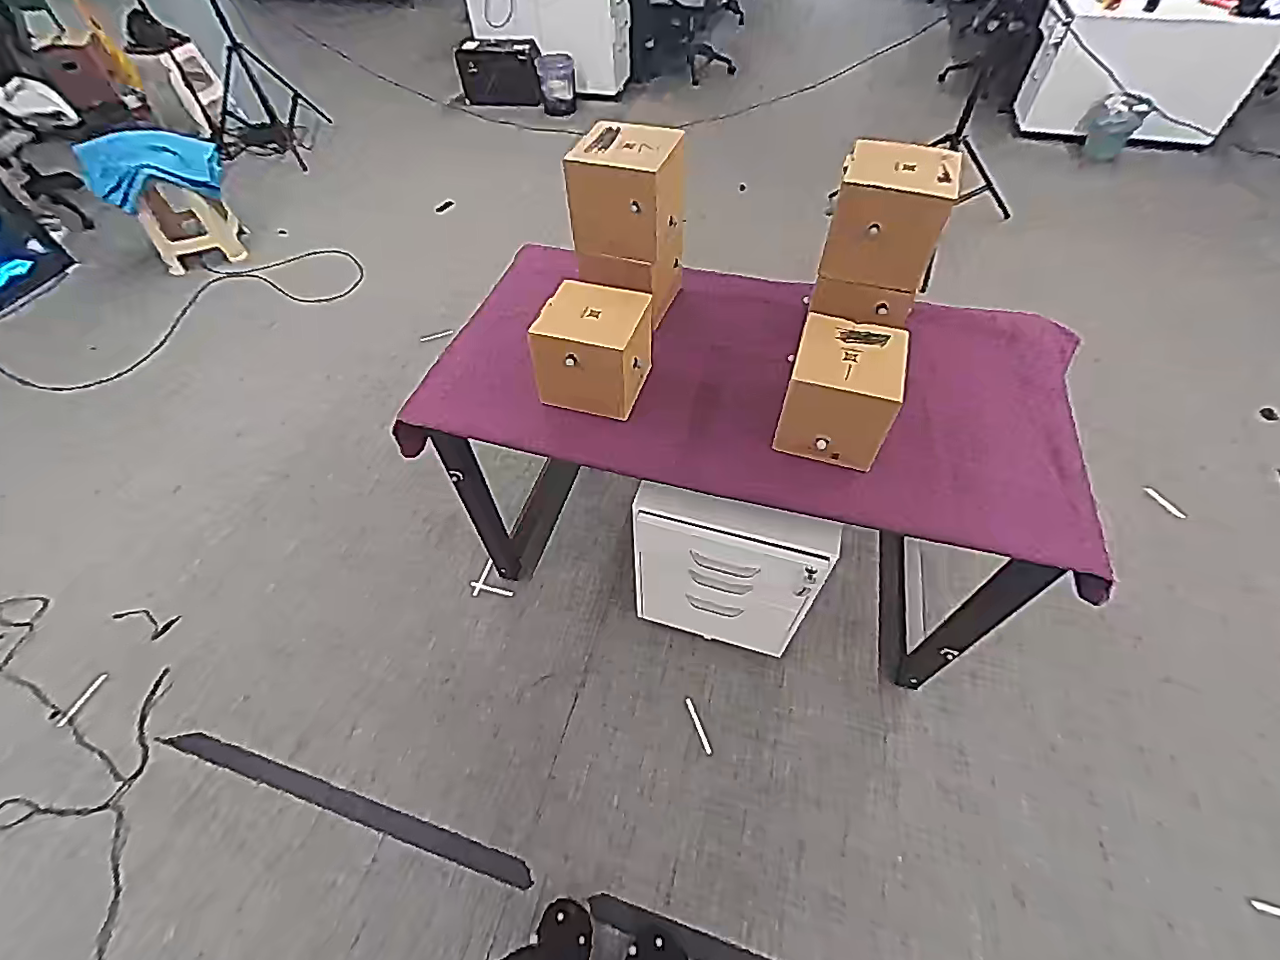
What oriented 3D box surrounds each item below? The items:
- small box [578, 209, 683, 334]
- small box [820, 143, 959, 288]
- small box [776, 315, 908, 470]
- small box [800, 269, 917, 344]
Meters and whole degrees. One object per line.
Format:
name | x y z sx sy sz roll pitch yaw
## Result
small box | -0.016 -0.444 1.158 0.168 0.176 0.179 16 58 15
small box | 0.429 -0.461 0.948 0.179 0.176 0.168 16 56 15
small box | 0.337 -0.147 0.920 0.168 0.176 0.179 15 54 13
small box | 0.435 -0.362 1.079 0.179 0.176 0.168 15 55 13
